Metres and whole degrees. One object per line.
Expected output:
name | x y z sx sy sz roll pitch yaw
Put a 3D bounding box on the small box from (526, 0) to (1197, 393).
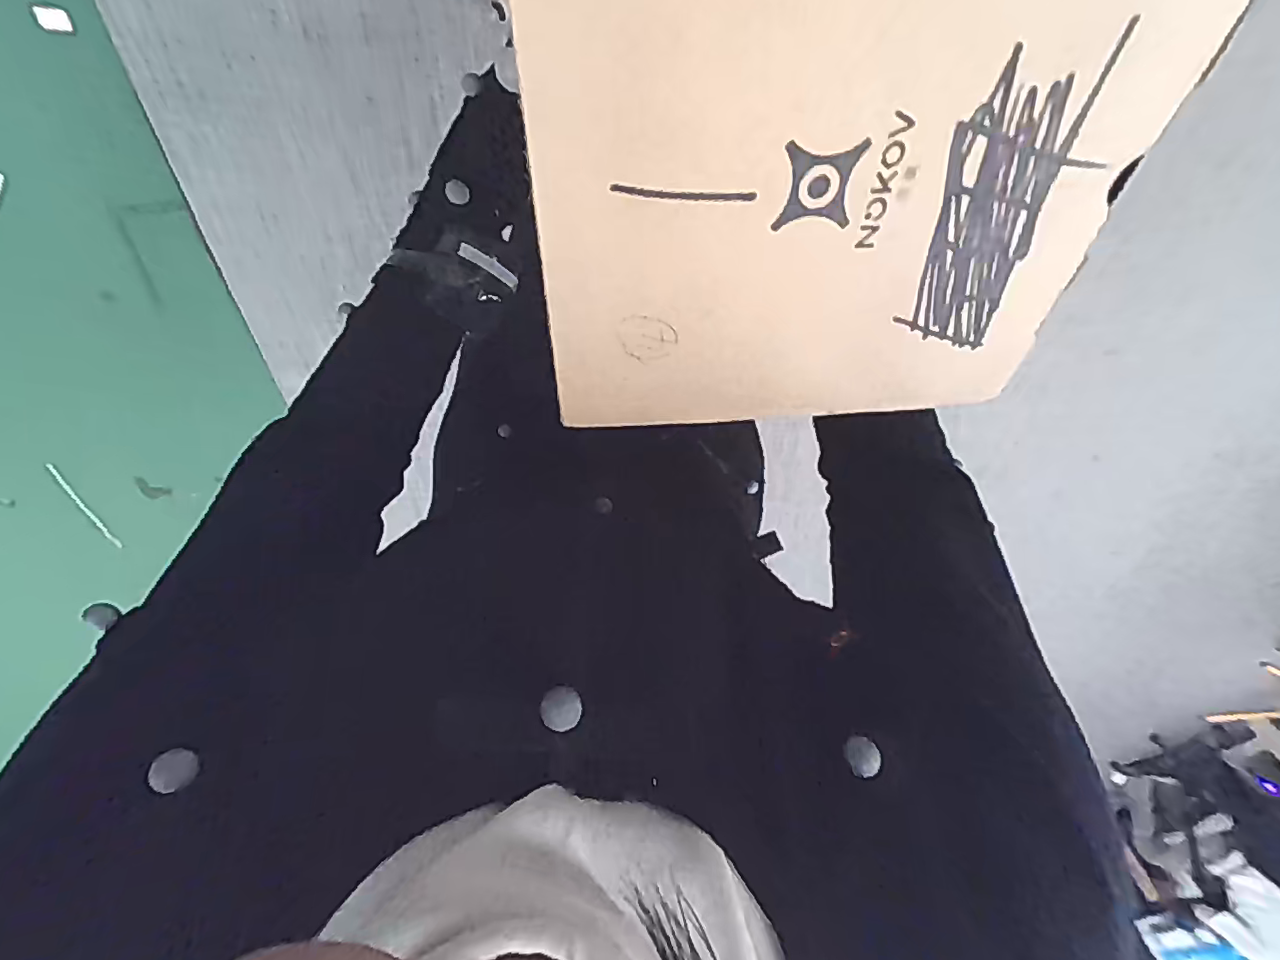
small box | 0.051 -0.154 0.214 0.179 0.176 0.168 -3 137 -3
